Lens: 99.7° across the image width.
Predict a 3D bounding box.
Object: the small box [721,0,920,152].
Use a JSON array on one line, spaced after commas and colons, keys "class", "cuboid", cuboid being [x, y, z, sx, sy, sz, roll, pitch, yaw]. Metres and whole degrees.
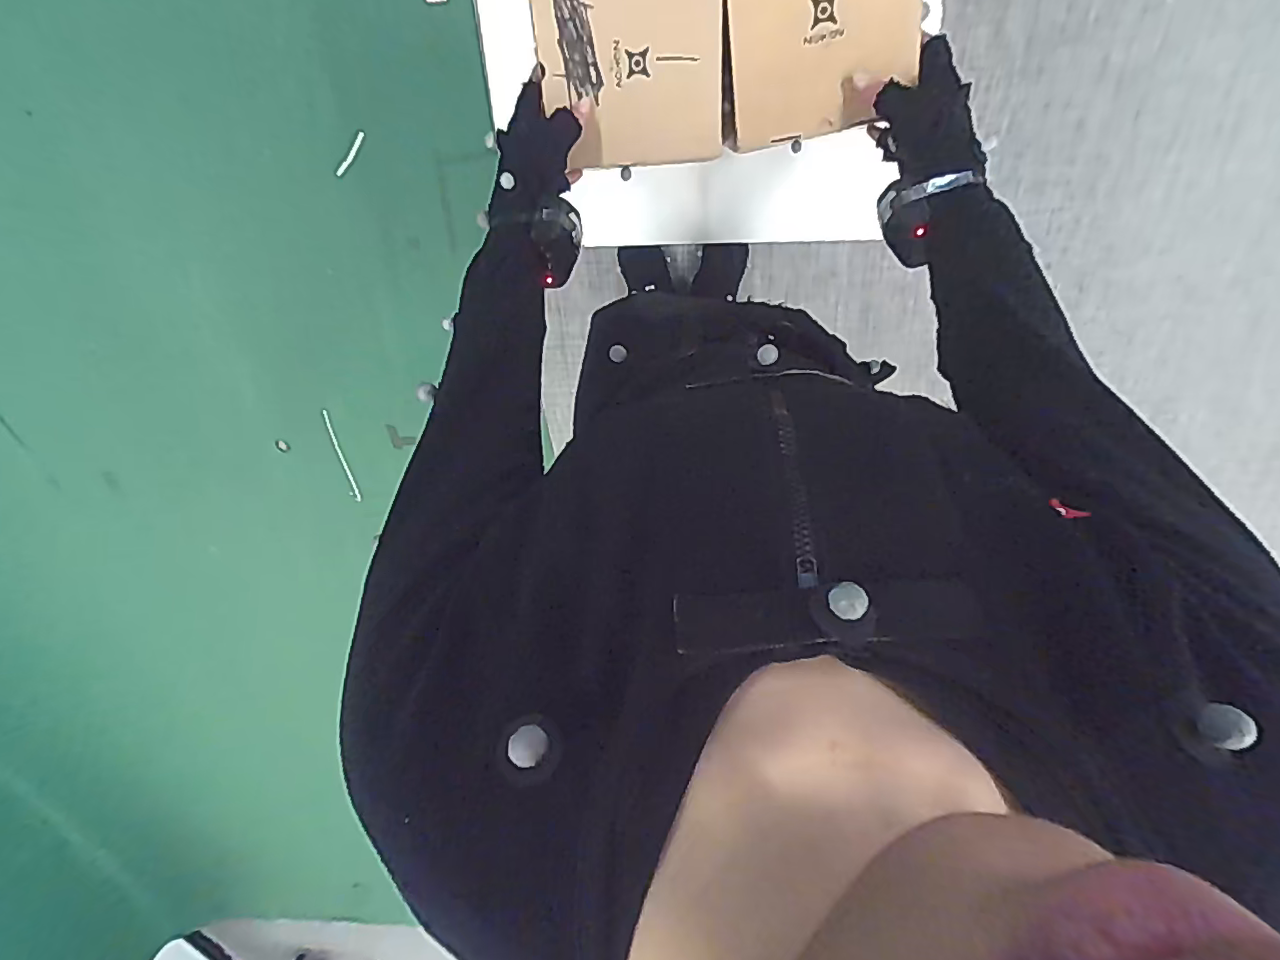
[{"class": "small box", "cuboid": [0.170, -0.447, 0.546, 0.168, 0.176, 0.179, -5, 120, 12]}]
